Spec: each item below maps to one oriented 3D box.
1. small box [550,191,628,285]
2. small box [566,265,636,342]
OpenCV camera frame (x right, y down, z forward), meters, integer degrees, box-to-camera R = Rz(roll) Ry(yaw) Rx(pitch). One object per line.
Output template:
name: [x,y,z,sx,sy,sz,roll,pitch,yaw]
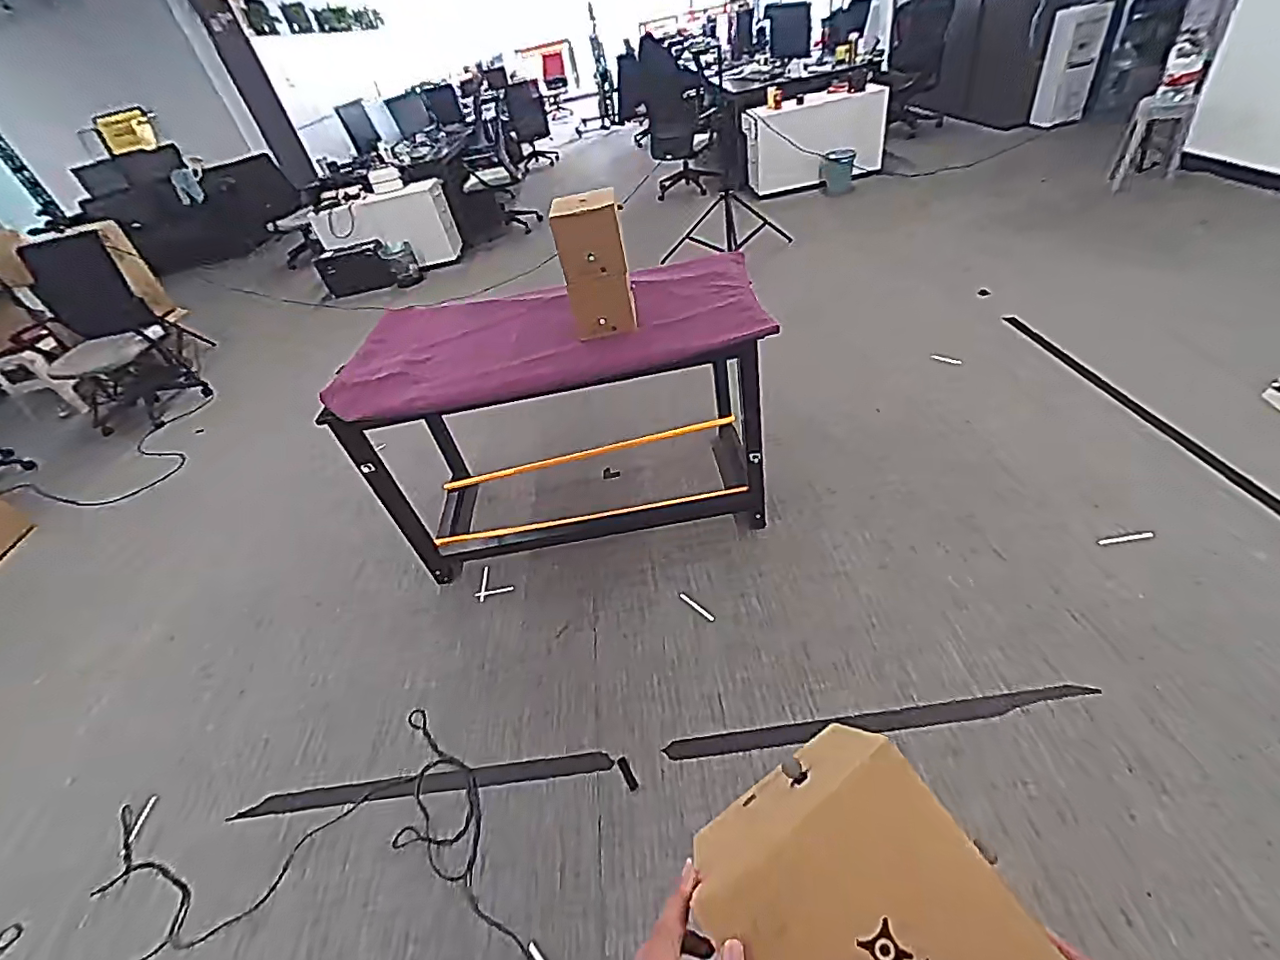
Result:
small box: [-0.129,-0.637,1.426,0.168,0.176,0.179,-10,41,5]
small box: [-0.105,-0.513,1.533,0.168,0.176,0.179,-9,41,5]
